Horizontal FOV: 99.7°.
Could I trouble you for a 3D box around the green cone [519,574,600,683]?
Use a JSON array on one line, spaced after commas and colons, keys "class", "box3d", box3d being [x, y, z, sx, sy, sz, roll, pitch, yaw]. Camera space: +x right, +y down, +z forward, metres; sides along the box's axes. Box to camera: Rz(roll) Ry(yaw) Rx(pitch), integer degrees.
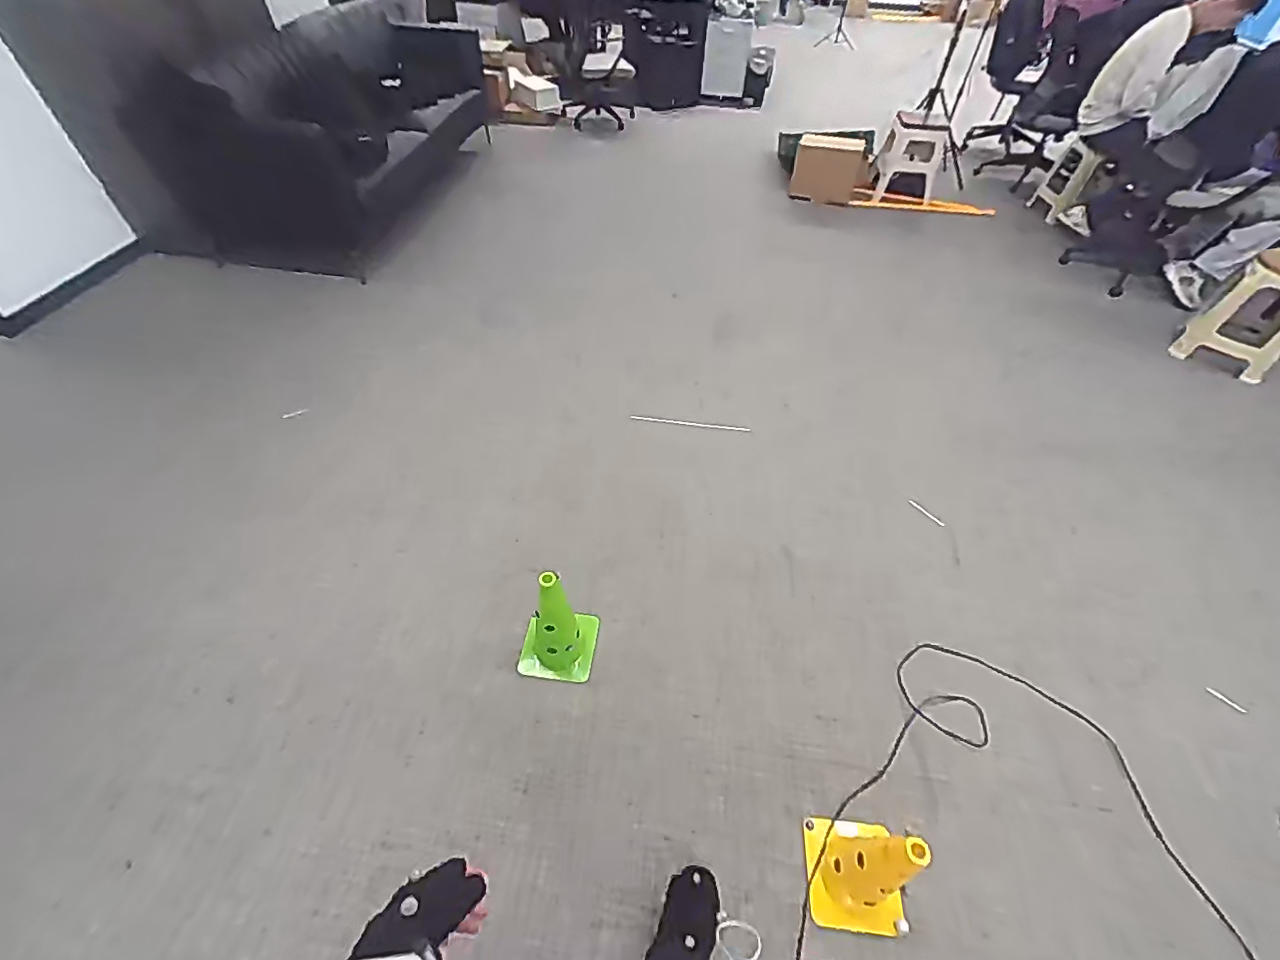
[{"class": "green cone", "box3d": [-0.217, 0.356, 1.403, 0.202, 0.368, 0.200, 7, 49, 3]}]
